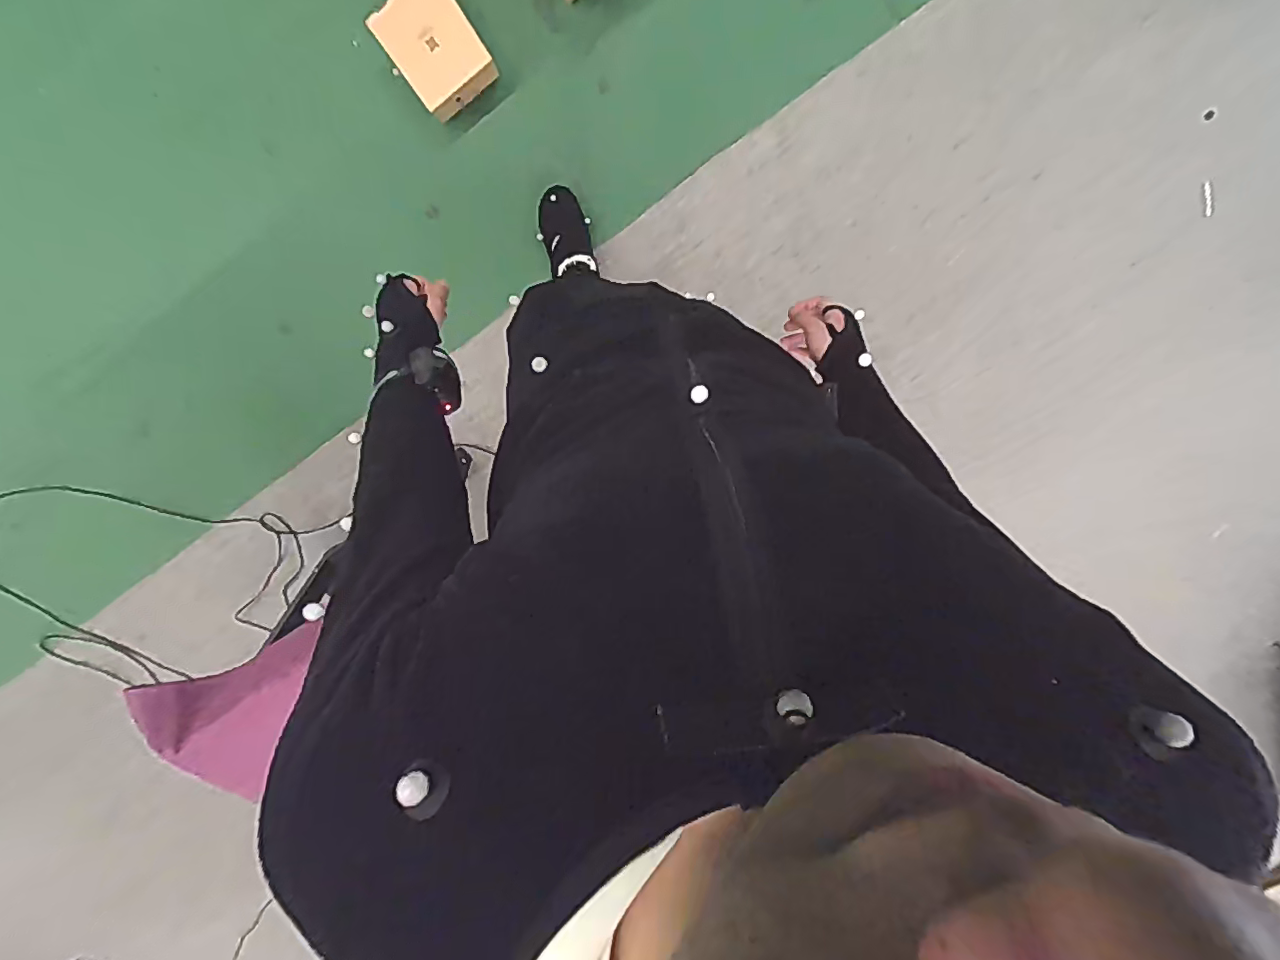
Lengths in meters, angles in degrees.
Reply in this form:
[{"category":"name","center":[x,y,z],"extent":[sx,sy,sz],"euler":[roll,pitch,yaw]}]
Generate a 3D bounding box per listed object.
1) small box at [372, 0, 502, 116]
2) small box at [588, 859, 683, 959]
[{"category":"small box","center":[-0.408,-0.894,1.126],"extent":[0.168,0.176,0.179],"euler":[-34,115,10]},{"category":"small box","center":[-0.017,1.120,1.382],"extent":[0.179,0.176,0.168],"euler":[-39,116,11]}]
